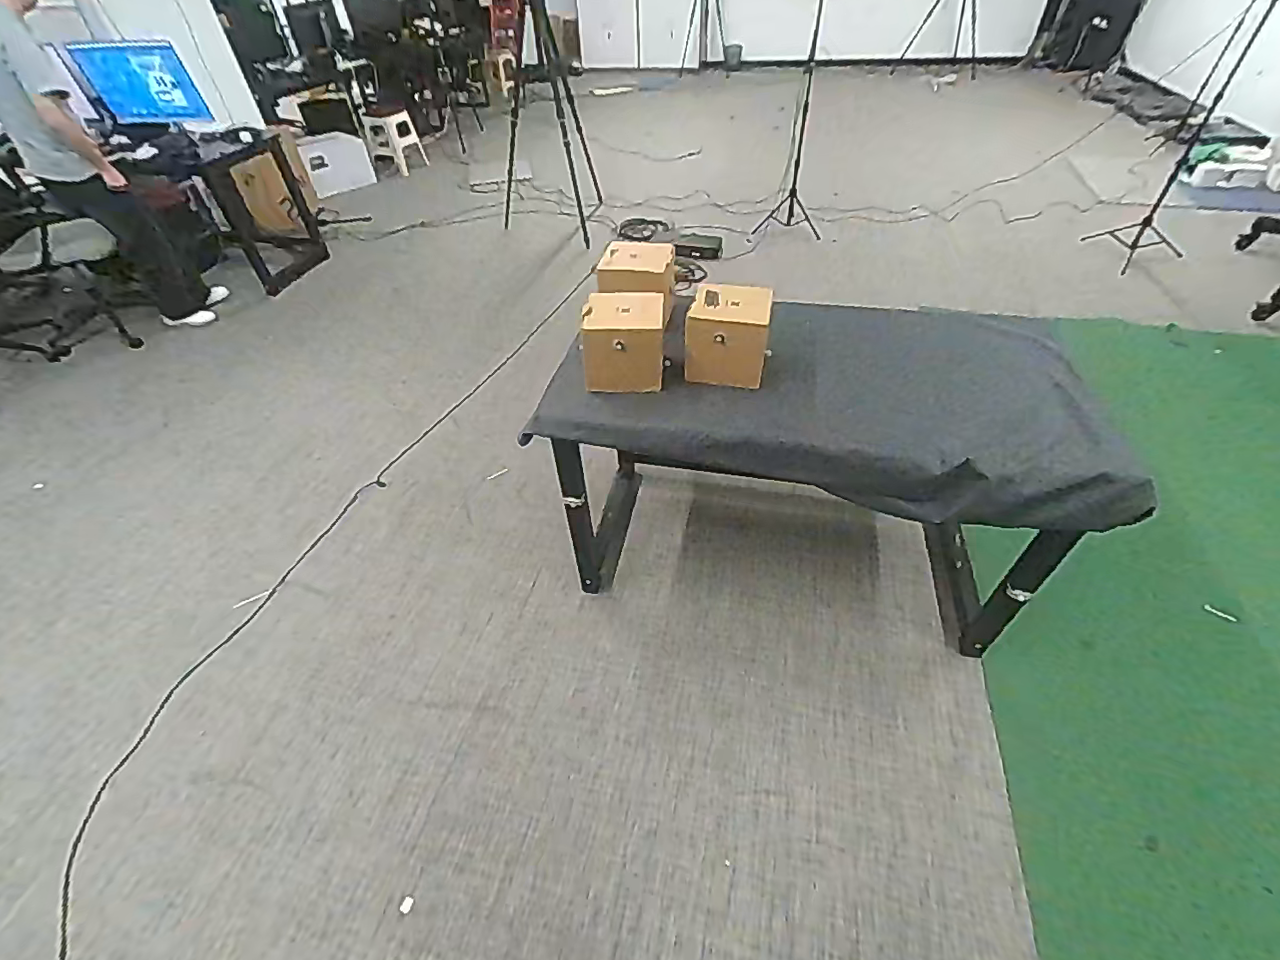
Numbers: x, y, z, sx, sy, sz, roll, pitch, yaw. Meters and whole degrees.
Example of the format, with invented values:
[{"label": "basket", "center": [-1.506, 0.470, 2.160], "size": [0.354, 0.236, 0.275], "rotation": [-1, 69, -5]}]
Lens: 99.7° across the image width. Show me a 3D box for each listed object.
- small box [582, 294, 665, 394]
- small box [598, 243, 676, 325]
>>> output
[{"label": "small box", "center": [-0.031, -0.315, 1.258], "size": [0.179, 0.176, 0.168], "rotation": [2, 46, 3]}, {"label": "small box", "center": [-0.003, -0.513, 1.452], "size": [0.179, 0.176, 0.168], "rotation": [8, 47, 9]}]
